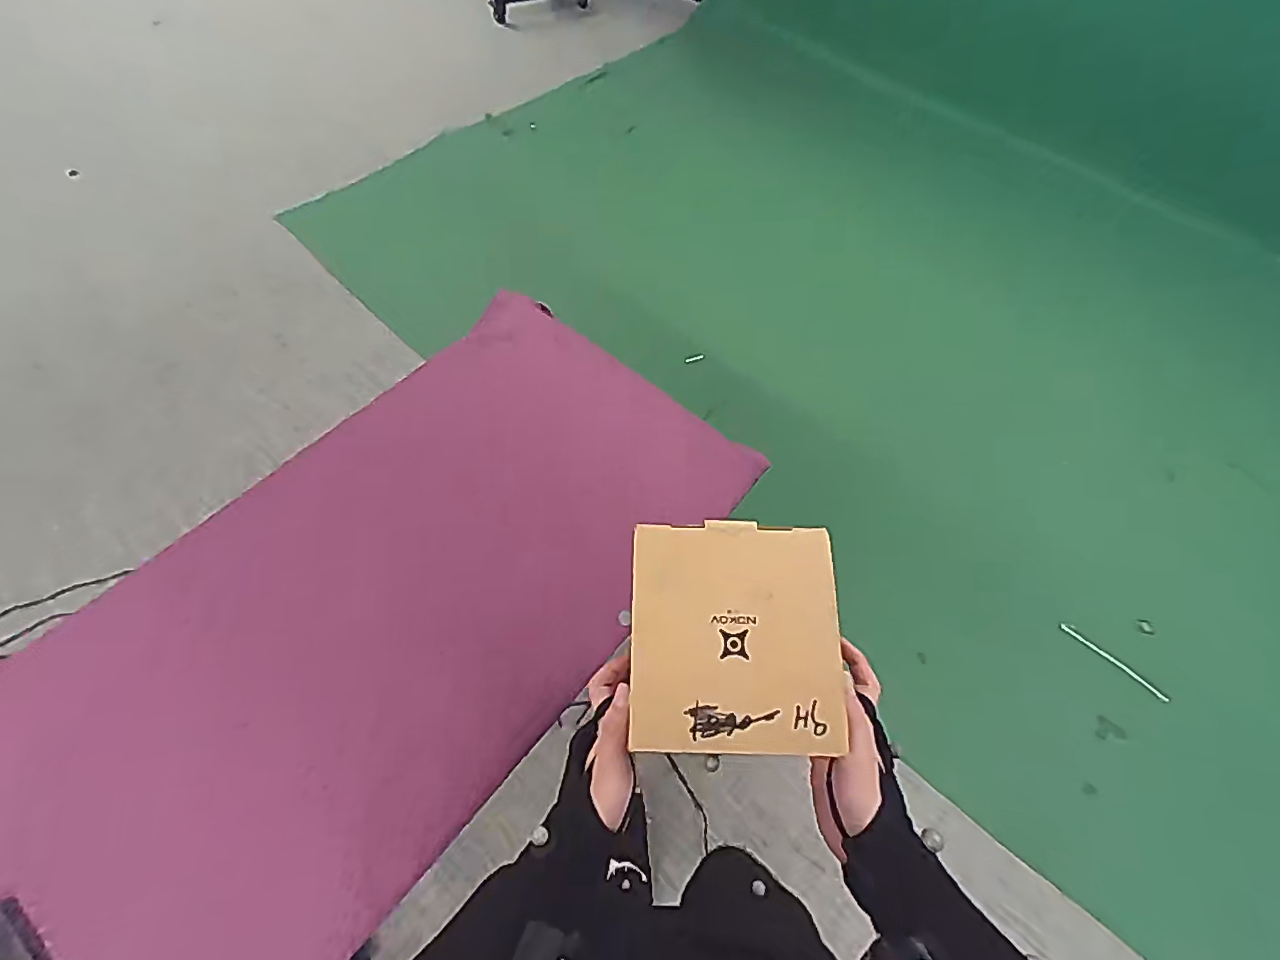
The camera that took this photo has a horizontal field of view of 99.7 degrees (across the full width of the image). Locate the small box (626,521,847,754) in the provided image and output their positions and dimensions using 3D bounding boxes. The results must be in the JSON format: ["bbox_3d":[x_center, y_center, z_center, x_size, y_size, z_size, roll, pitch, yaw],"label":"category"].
[{"bbox_3d":[0.074,0.146,0.501,0.168,0.176,0.179,1,70,2],"label":"small box"}]
